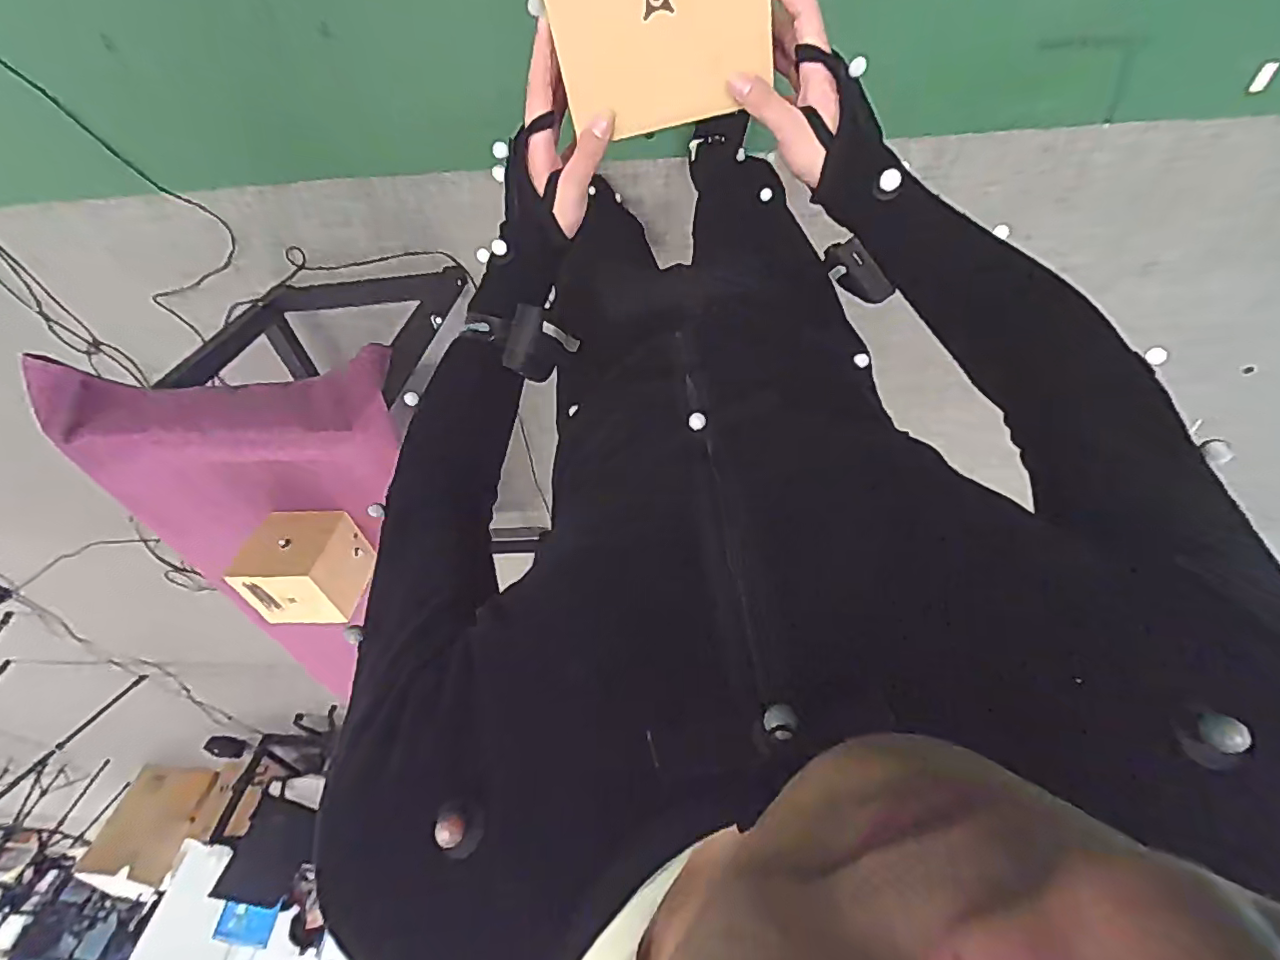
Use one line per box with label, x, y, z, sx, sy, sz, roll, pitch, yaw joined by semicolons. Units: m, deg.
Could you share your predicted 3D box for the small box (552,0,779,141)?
small box;0.016;-0.411;0.448;0.168;0.176;0.179;-10;129;7
